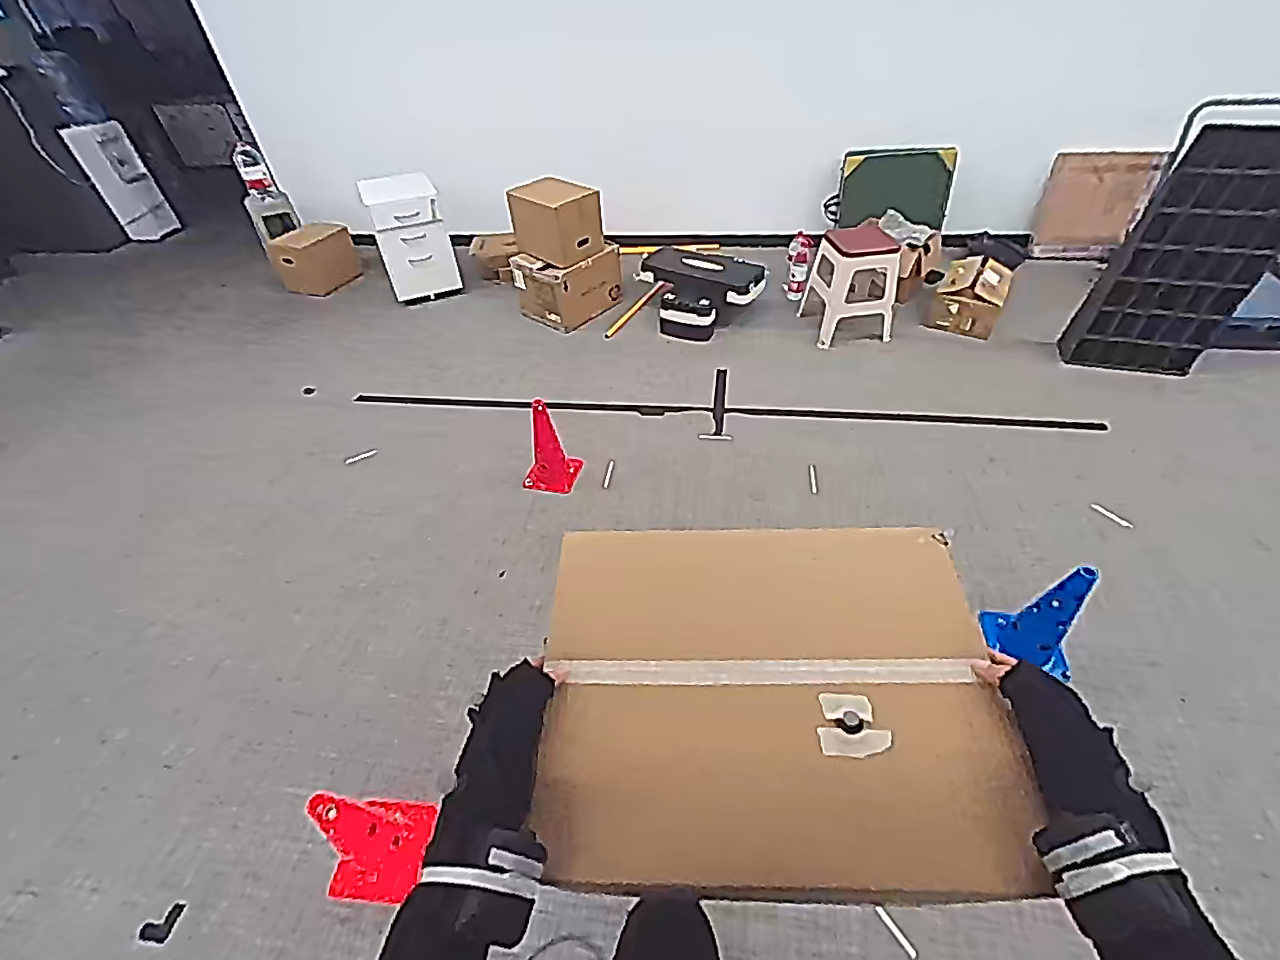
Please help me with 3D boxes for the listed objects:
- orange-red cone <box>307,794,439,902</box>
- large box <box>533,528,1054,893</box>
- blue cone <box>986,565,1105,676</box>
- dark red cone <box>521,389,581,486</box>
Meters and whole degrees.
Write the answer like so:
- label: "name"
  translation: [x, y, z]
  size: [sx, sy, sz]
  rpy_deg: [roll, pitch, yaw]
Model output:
- label: "orange-red cone"
  translation: [-0.603, 0.744, 1.152]
  size: [0.198, 0.360, 0.199]
  rpy_deg: [1, 46, 6]
- label: "large box"
  translation: [0.121, 0.270, 0.617]
  size: [0.408, 0.320, 0.320]
  rpy_deg: [-1, 51, 3]
- label: "blue cone"
  translation: [1.116, 0.355, 1.457]
  size: [0.192, 0.380, 0.193]
  rpy_deg: [7, 45, 9]
- label: "dark red cone"
  translation: [-0.357, -0.169, 2.045]
  size: [0.201, 0.394, 0.202]
  rpy_deg: [8, 45, 11]
